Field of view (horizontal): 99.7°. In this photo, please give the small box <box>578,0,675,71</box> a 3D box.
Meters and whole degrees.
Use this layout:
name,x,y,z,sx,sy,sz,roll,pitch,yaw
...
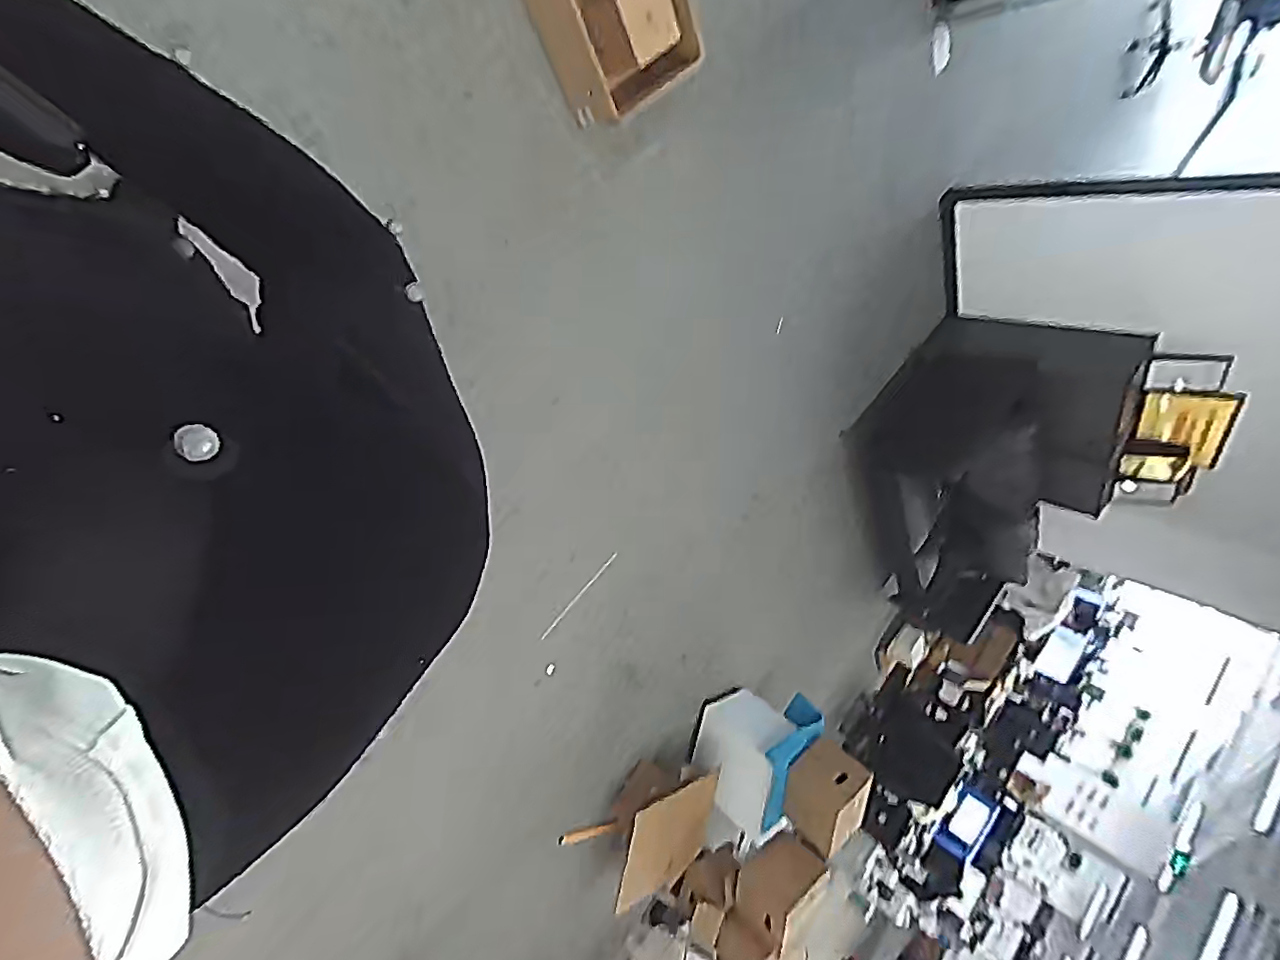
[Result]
name,x,y,z,sx,sy,sz,roll,pitch,yaw
small box,-0.038,-1.283,1.504,0.179,0.176,0.168,-46,132,-16
